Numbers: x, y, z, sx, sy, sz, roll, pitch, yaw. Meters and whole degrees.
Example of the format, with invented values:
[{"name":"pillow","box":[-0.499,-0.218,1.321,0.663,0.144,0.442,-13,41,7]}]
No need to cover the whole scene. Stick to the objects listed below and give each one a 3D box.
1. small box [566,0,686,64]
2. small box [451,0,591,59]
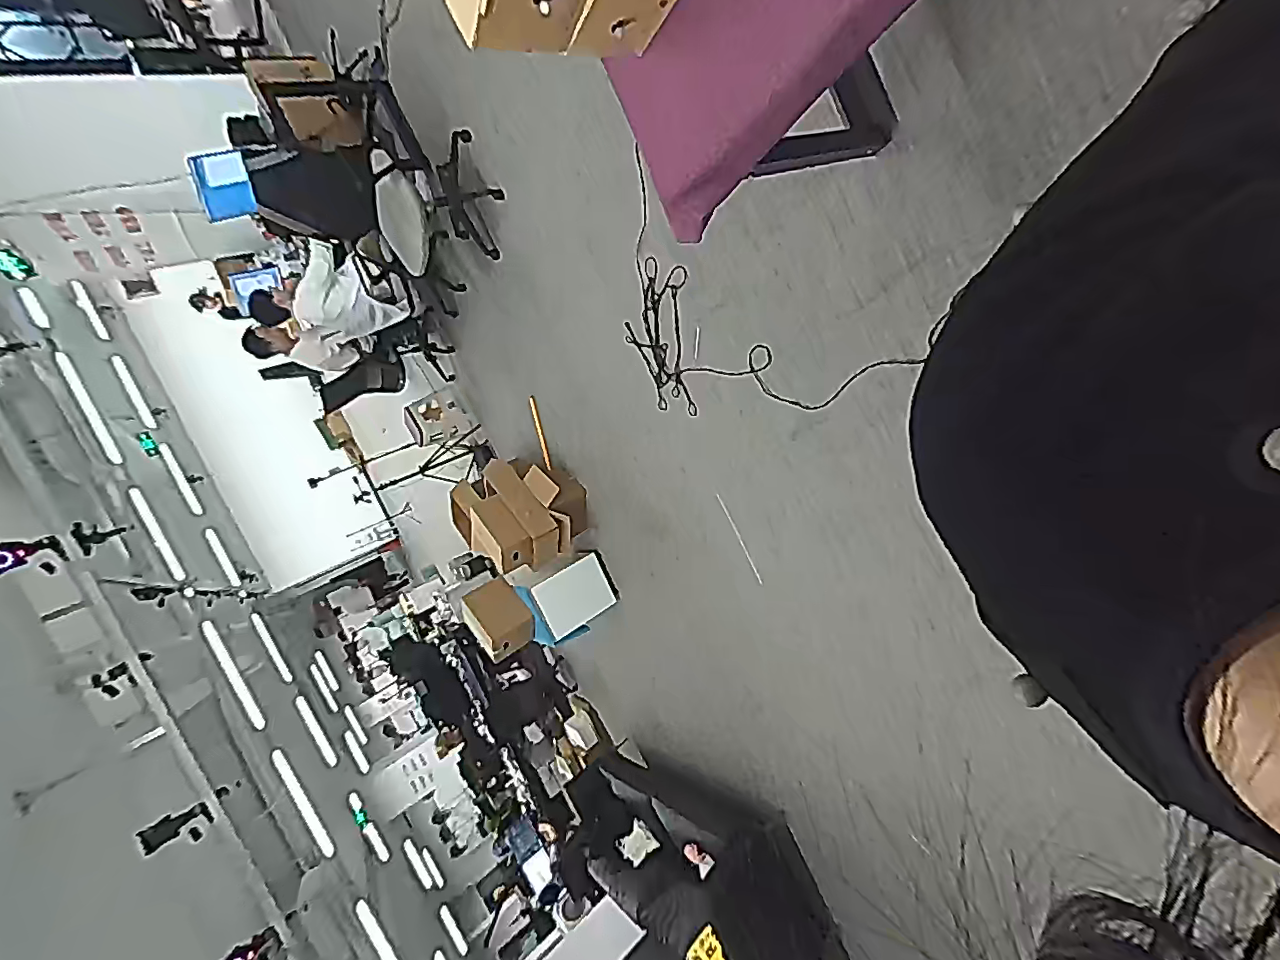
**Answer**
[{"name":"small box","box":[-0.040,-0.795,0.839,0.168,0.176,0.179,-15,100,59]},{"name":"small box","box":[-0.170,-0.739,0.756,0.168,0.176,0.179,-25,92,59]}]
